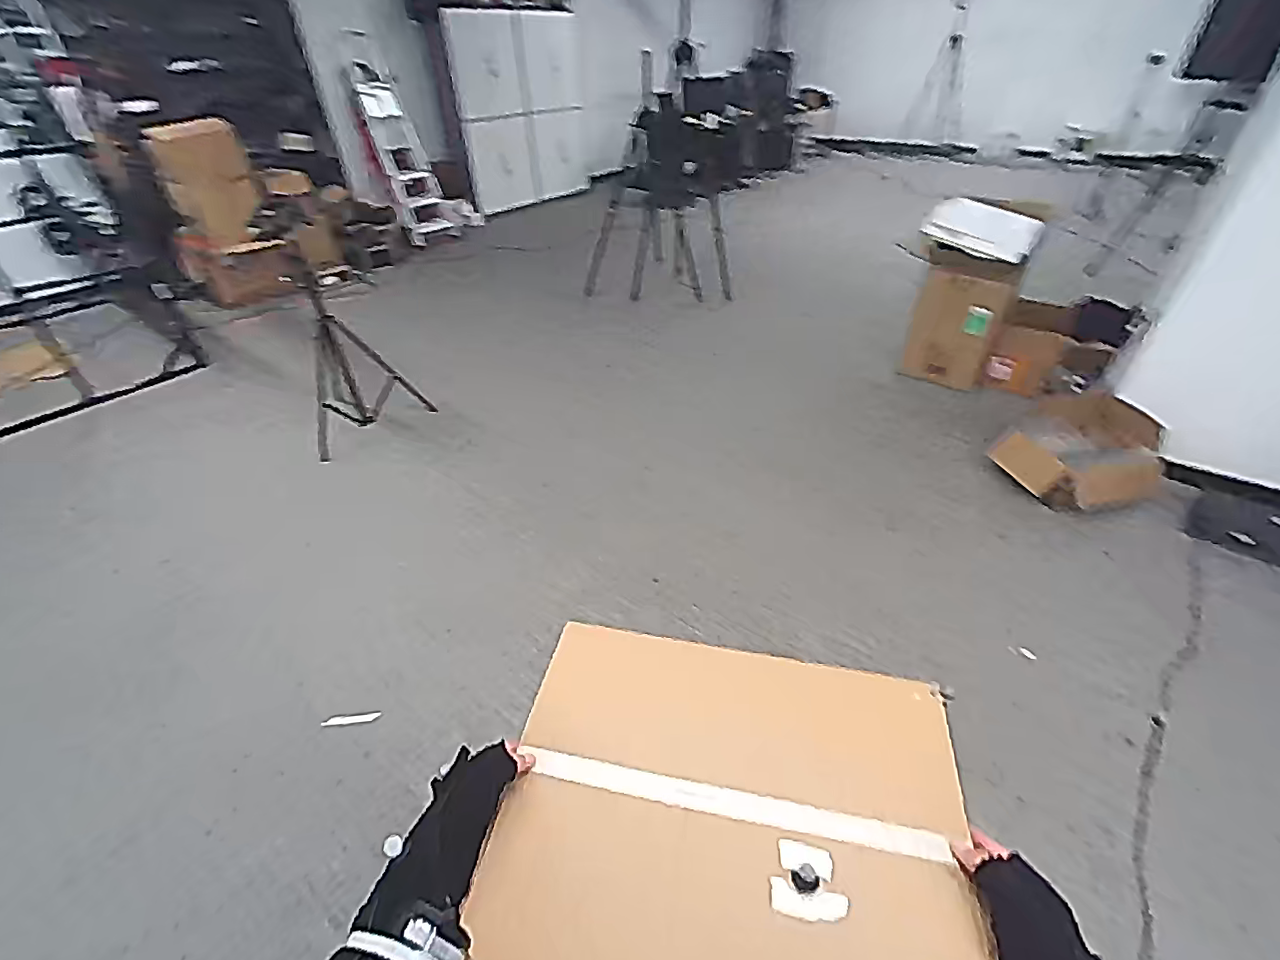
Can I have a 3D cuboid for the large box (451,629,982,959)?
[{"bbox_3d":[0.078,0.405,0.584,0.408,0.320,0.320,7,41,10],"label":"large box"}]
